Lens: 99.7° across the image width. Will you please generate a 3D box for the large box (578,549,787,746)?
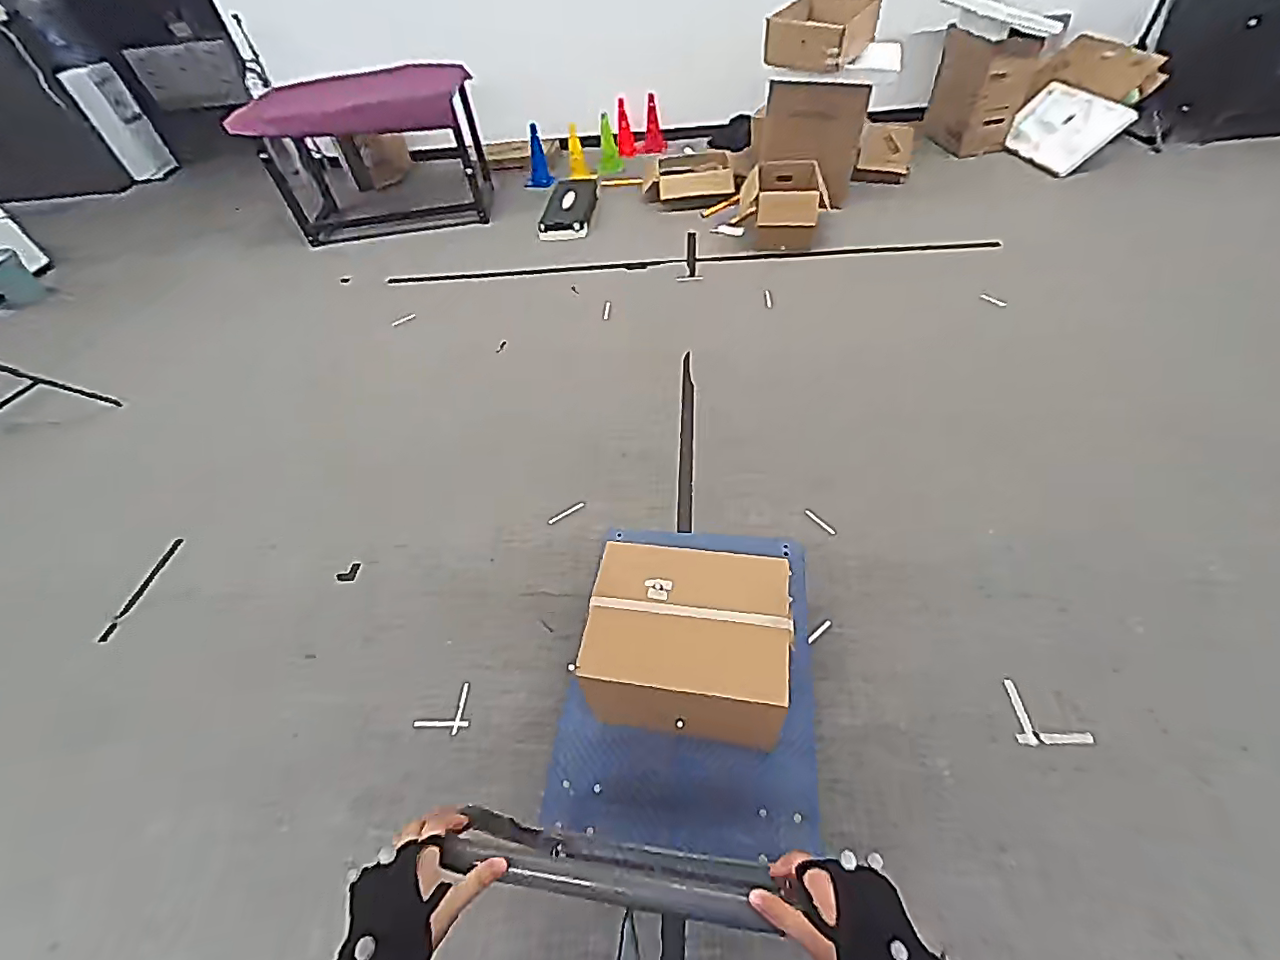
[{"bbox_3d":[0.113,0.379,1.224,0.408,0.320,0.320,4,49,11],"label":"large box"}]
